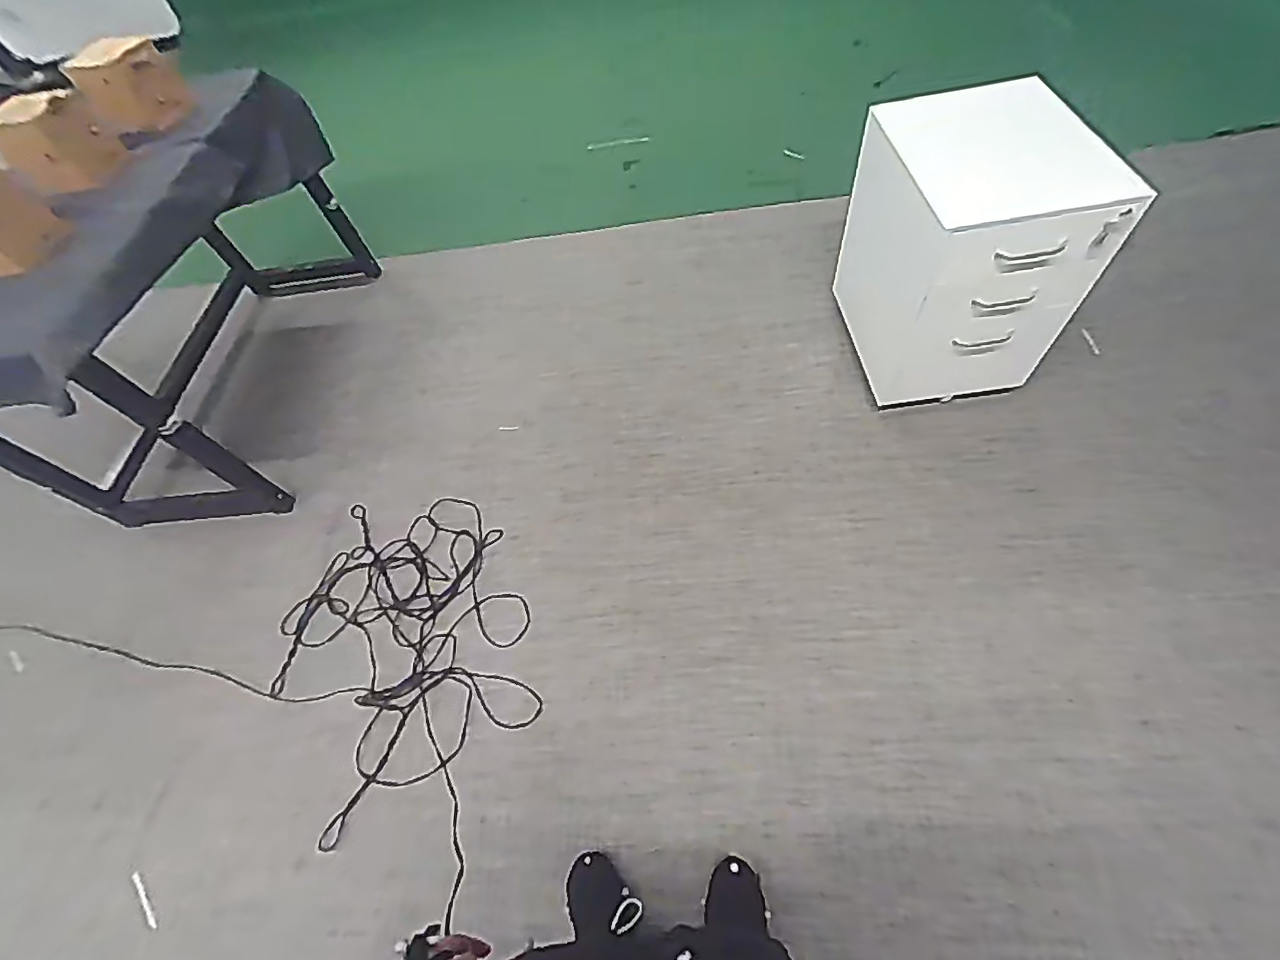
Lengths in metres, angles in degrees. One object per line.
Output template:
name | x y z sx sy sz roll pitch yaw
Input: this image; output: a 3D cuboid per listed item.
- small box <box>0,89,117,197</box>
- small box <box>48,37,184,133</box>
small box | -1.497 -0.842 1.361 0.179 0.176 0.168 -3 57 9
small box | -1.450 -1.097 1.508 0.179 0.176 0.168 9 61 14
